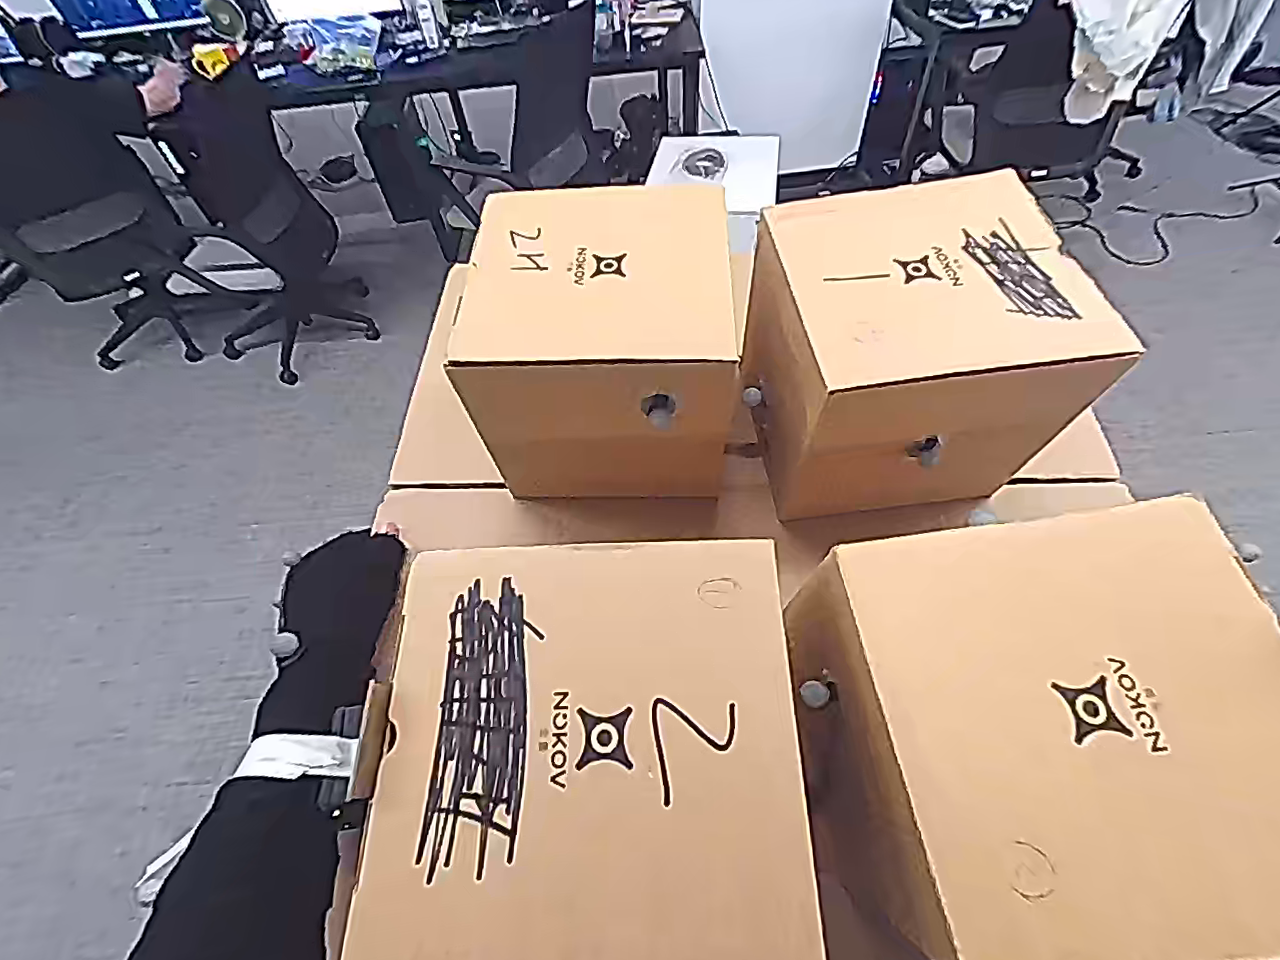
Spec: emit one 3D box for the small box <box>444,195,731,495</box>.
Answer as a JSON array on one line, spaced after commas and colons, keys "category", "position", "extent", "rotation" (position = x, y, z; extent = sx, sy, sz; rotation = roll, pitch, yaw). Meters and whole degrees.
[{"category": "small box", "position": [-0.026, -0.097, 0.431], "extent": [0.179, 0.176, 0.168], "rotation": [0, 60, 5]}]
